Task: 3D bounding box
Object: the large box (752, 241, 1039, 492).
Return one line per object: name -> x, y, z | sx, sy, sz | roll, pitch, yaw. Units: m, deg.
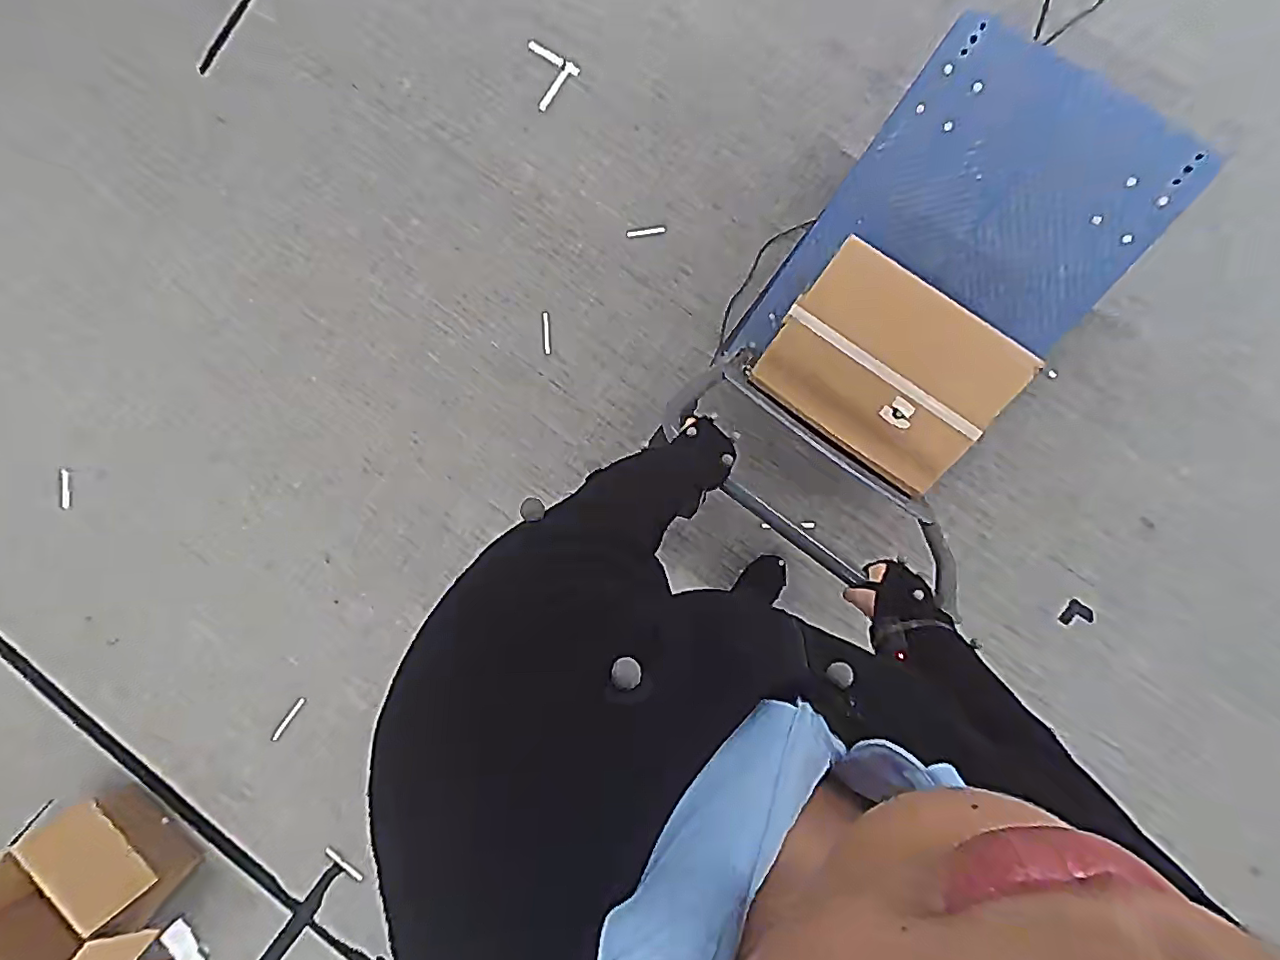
large box -> 0.499, -0.242, 1.150 | 0.408, 0.320, 0.320 | 36, 112, 5
